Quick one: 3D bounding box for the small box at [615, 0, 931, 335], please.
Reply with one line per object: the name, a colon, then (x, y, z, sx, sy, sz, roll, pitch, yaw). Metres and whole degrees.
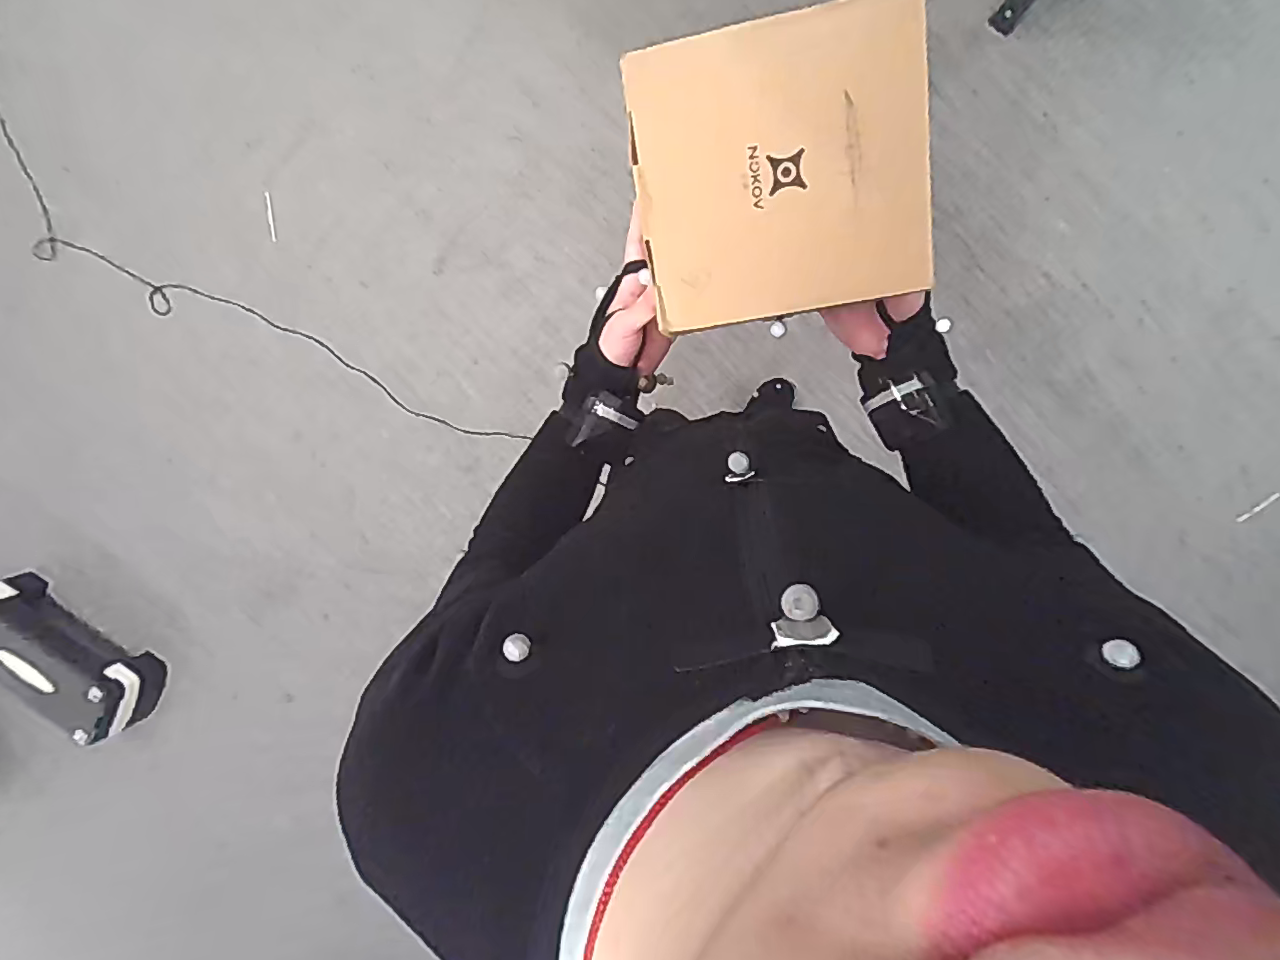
small box: (0.090, -0.204, 0.403, 0.179, 0.176, 0.168, -8, 104, 8)
